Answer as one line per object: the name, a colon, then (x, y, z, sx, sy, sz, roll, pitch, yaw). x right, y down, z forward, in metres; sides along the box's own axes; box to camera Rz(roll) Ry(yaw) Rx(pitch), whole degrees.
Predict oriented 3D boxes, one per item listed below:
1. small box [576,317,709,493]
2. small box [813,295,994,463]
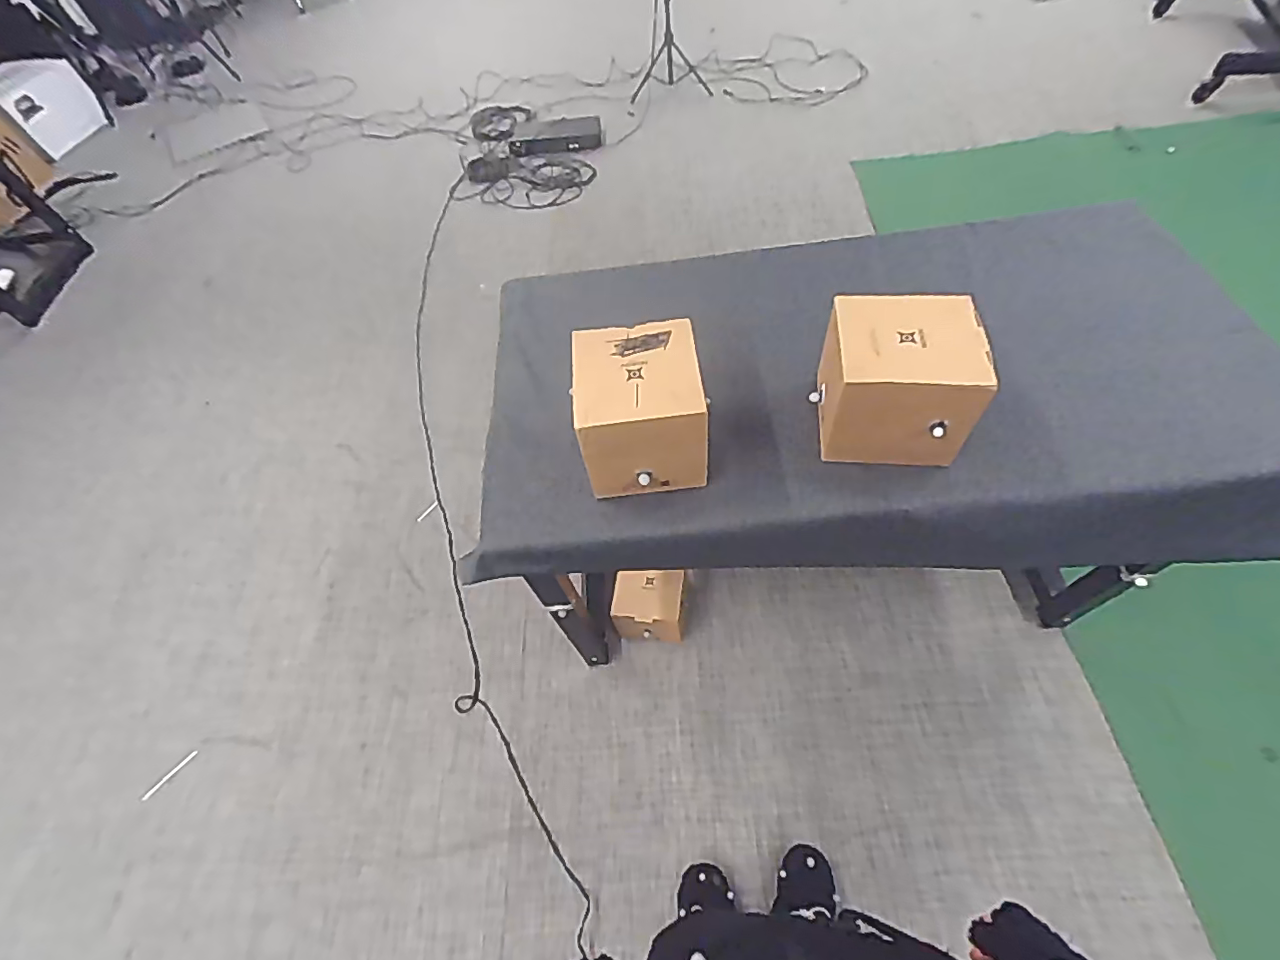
small box: (0.003, -0.103, 0.770, 0.168, 0.176, 0.179, -6, 56, 2)
small box: (0.351, -0.137, 0.759, 0.179, 0.176, 0.168, 2, 56, 9)
